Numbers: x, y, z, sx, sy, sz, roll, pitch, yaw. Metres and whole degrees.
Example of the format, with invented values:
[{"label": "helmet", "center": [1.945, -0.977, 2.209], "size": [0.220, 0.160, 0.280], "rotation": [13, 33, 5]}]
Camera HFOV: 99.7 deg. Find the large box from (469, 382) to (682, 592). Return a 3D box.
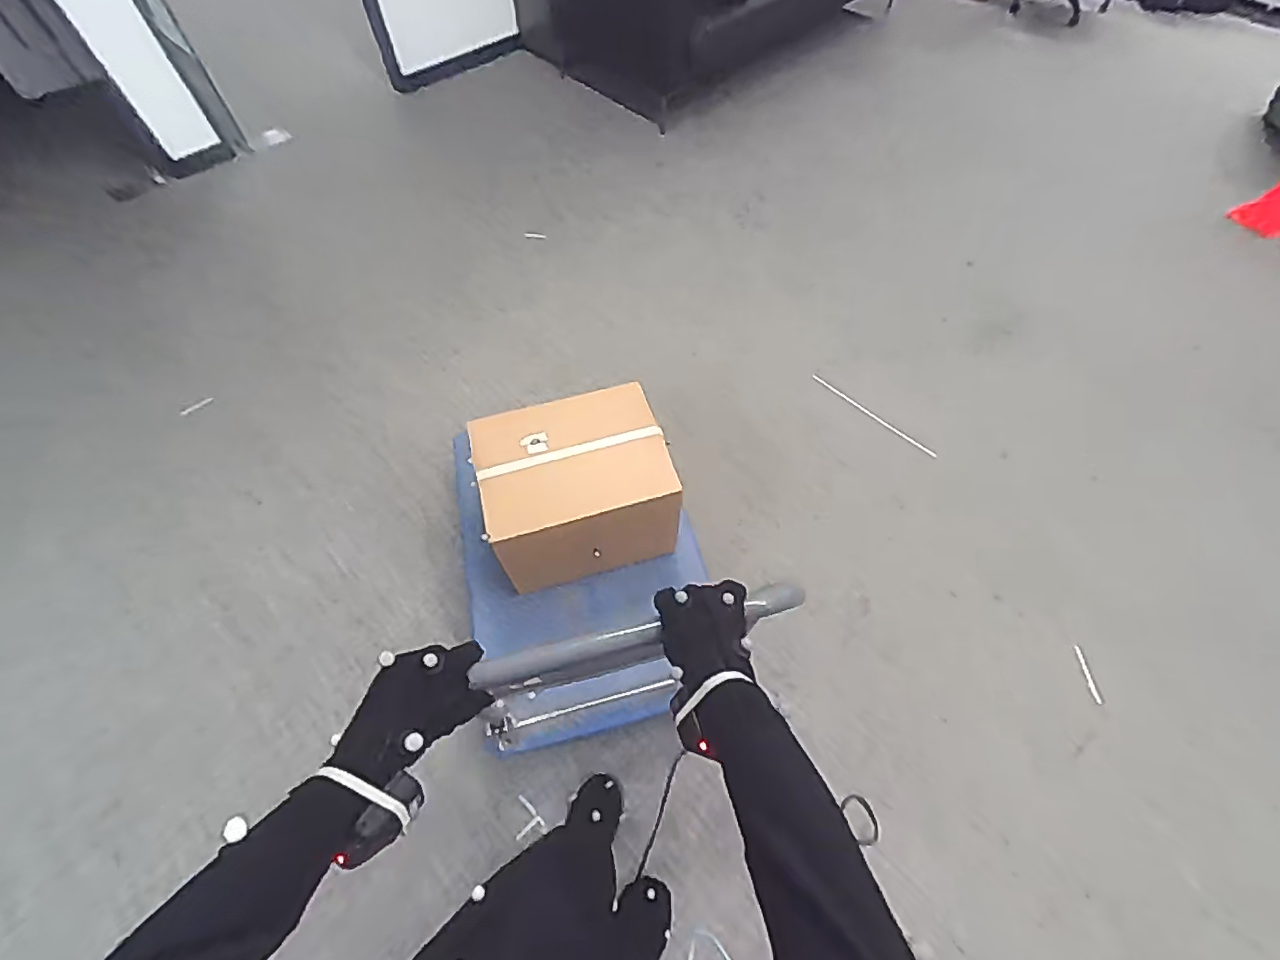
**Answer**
[{"label": "large box", "center": [-0.144, 0.024, 1.287], "size": [0.408, 0.320, 0.320], "rotation": [-16, 60, -9]}]
